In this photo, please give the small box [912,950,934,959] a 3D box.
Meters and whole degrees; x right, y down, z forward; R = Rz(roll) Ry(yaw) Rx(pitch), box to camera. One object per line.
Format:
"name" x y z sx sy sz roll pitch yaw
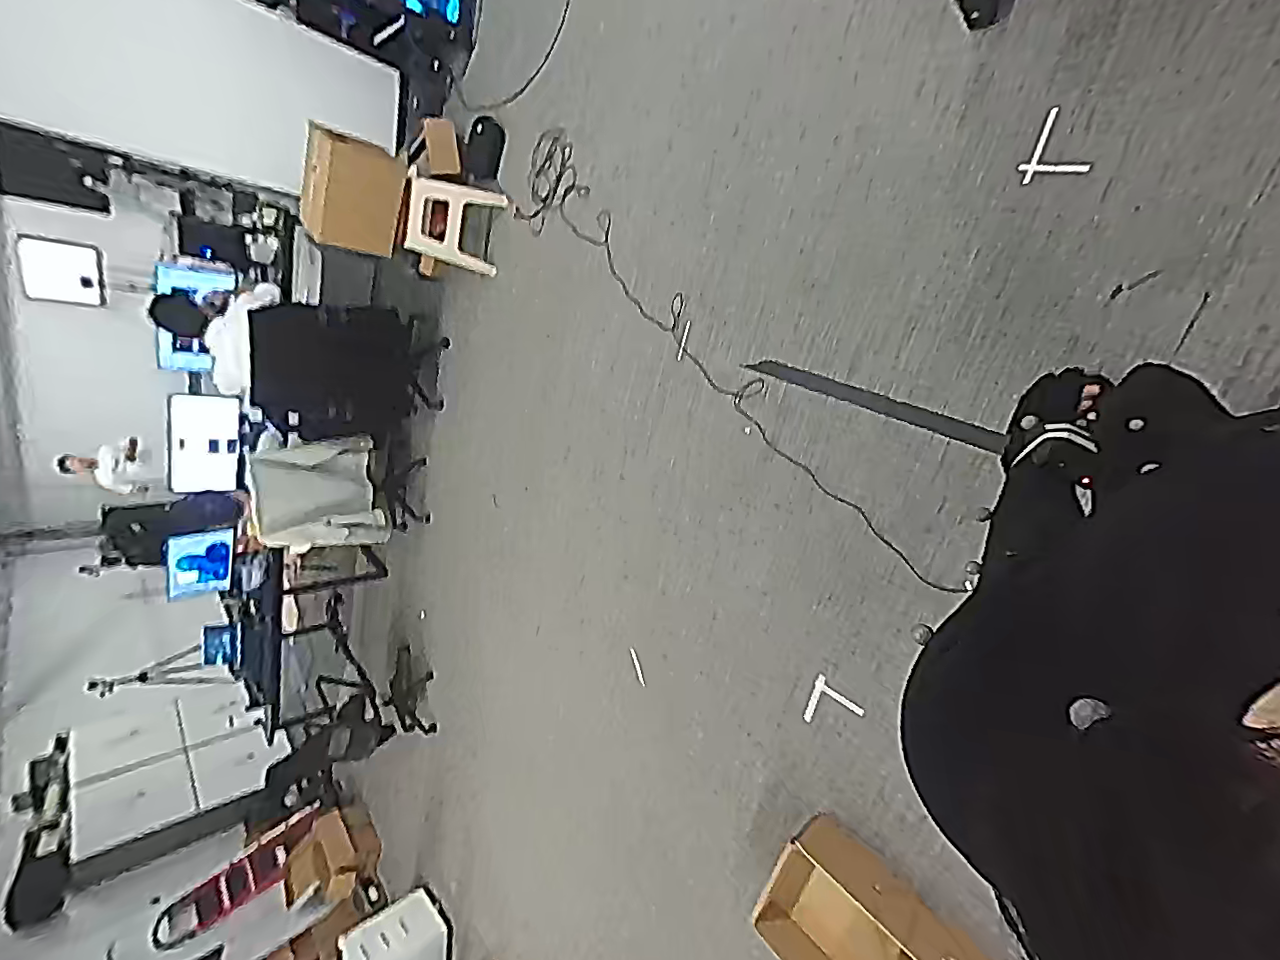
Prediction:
"small box" 0.739 1.385 1.390 0.168 0.176 0.179 29 113 40
